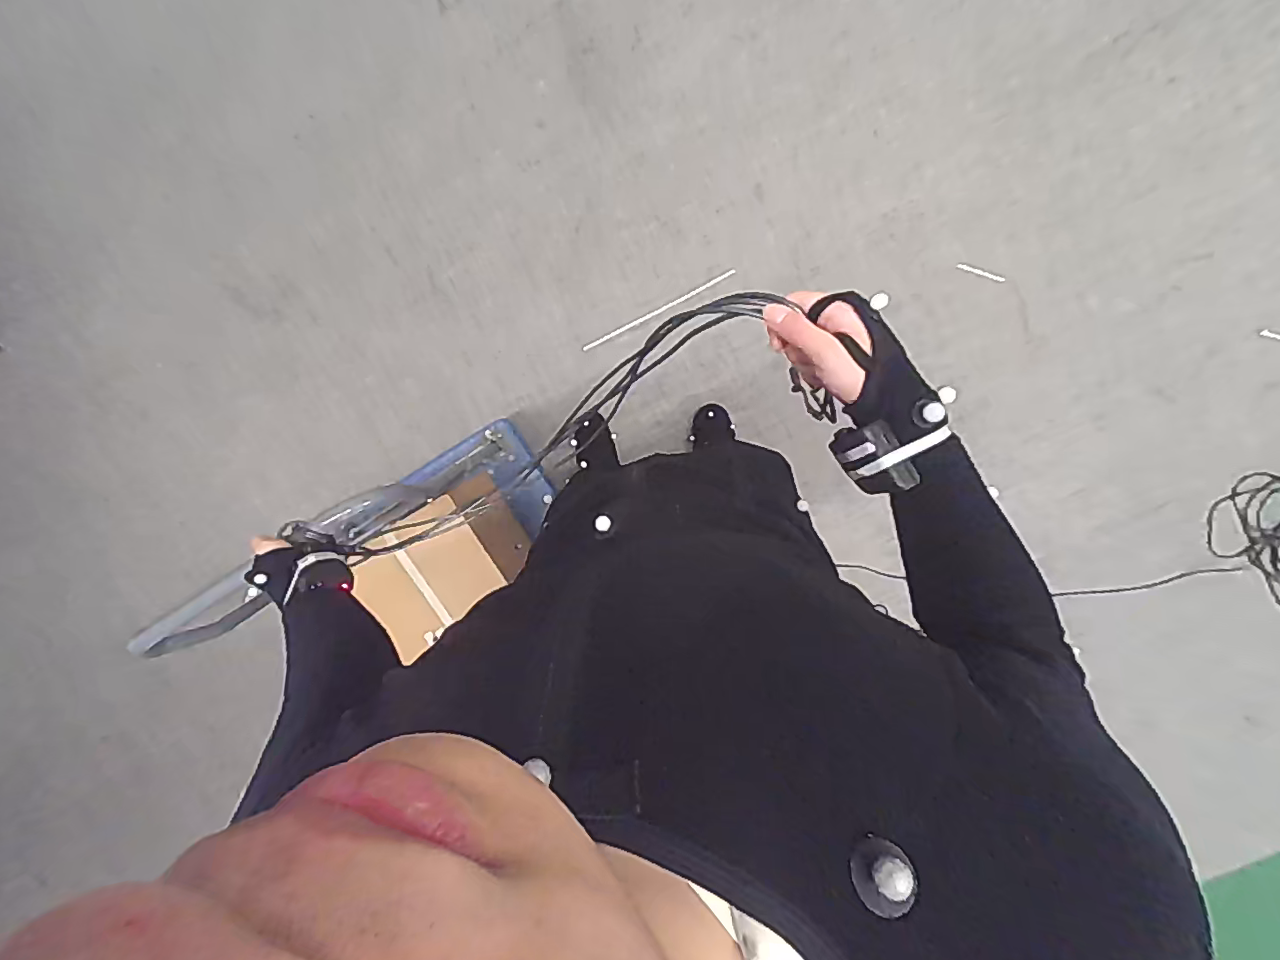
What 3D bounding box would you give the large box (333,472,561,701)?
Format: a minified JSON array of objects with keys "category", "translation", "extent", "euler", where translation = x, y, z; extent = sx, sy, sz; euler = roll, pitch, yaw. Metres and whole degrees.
[{"category":"large box","translation":[-0.443,0.240,1.338],"extent":[0.320,0.320,0.408],"euler":[-30,99,4]}]
